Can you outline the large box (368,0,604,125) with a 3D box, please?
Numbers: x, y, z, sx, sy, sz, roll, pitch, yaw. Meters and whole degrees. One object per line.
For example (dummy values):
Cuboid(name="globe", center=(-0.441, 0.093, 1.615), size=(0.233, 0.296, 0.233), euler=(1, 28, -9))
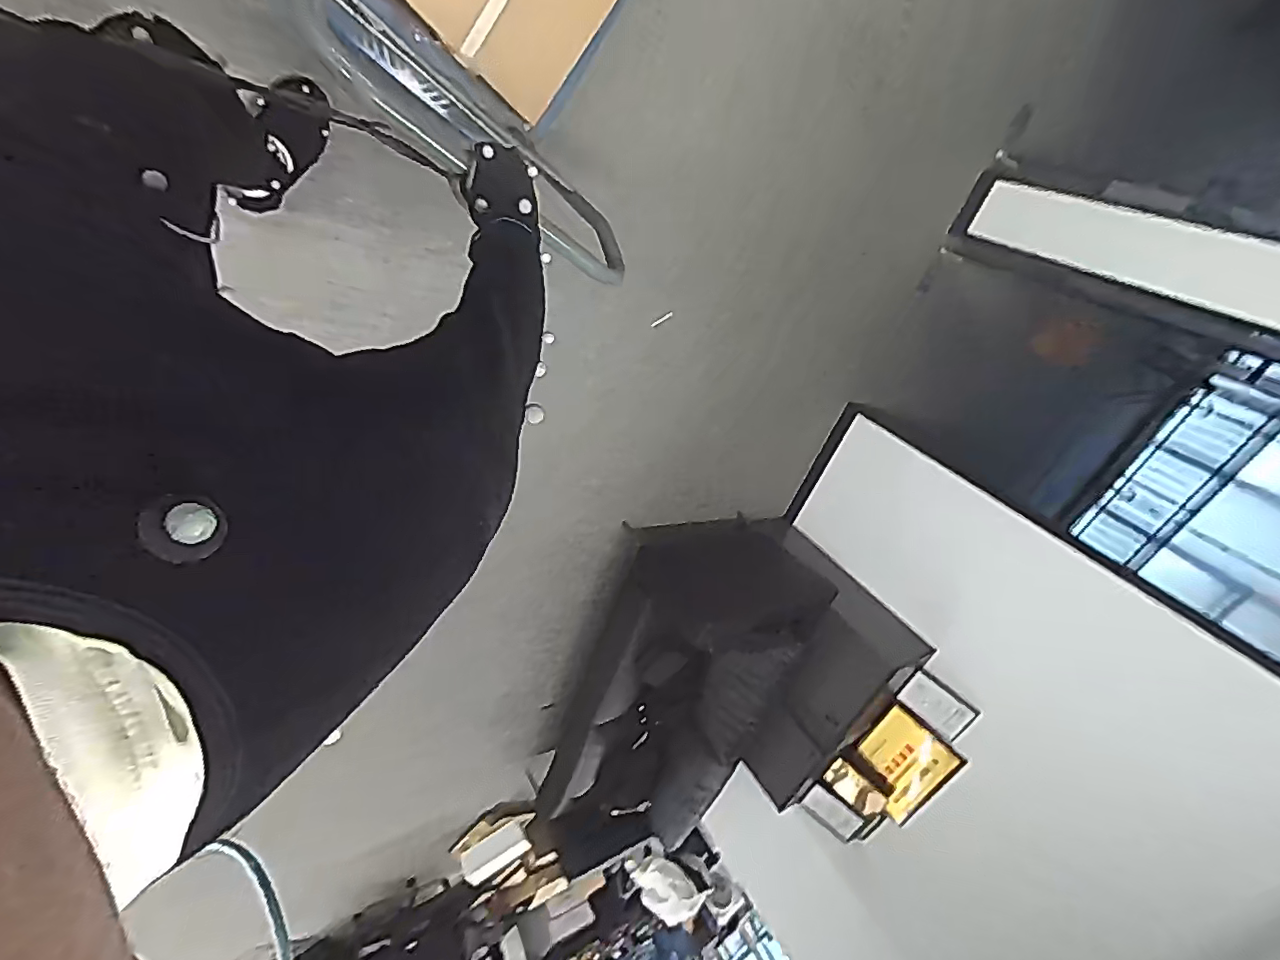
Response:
Cuboid(name="large box", center=(-0.259, -0.928, 0.932), size=(0.408, 0.320, 0.320), euler=(-49, 140, 13))
